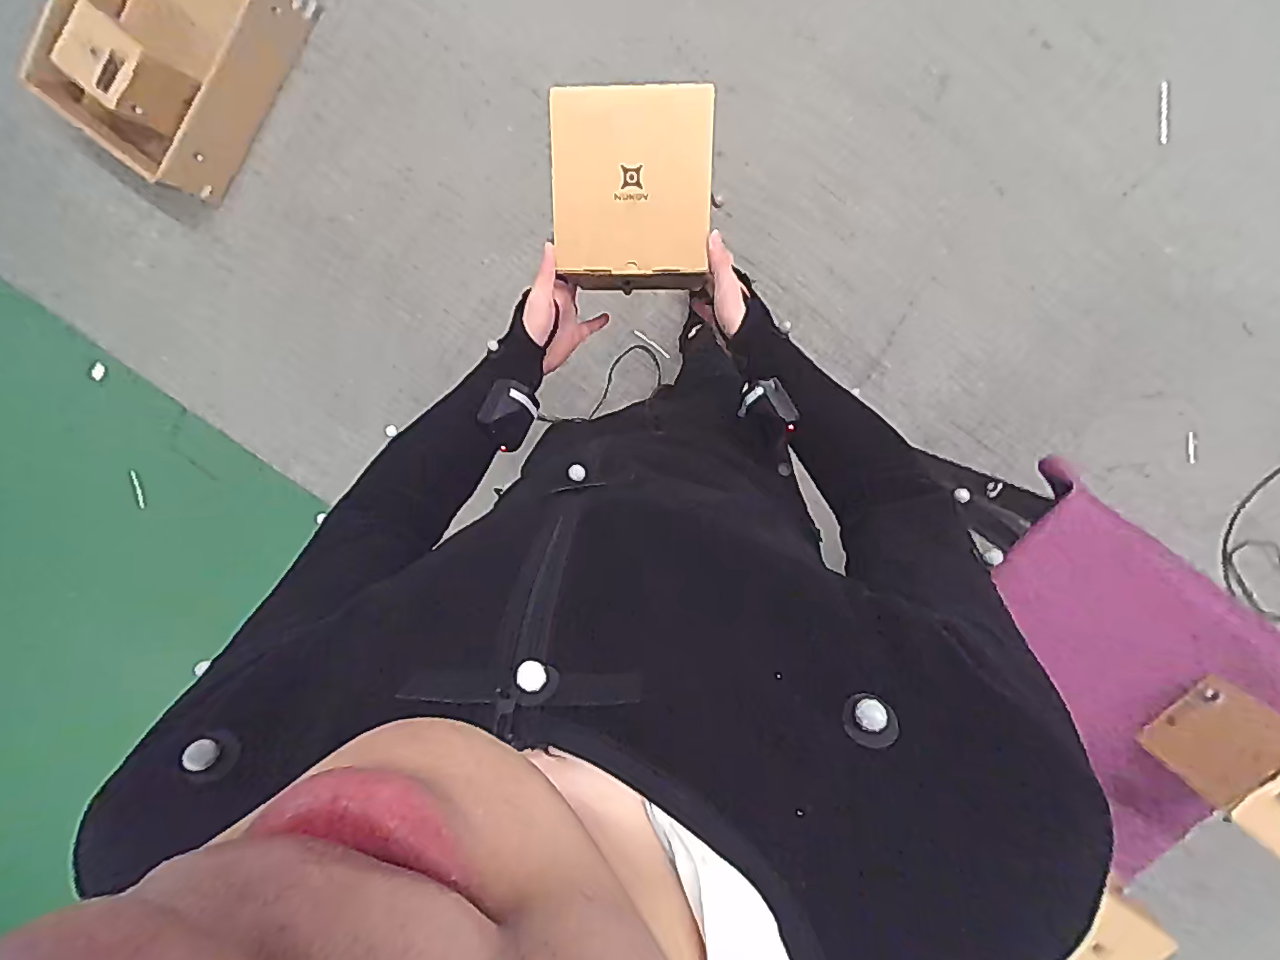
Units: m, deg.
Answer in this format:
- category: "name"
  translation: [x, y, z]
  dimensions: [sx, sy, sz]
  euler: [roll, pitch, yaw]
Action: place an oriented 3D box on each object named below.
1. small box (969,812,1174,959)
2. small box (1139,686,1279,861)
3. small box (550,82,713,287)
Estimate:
- category: "small box"
  translation: [0.727, 0.725, 0.933]
  dimensions: [0.179, 0.176, 0.168]
  euler: [36, 101, -4]
- category: "small box"
  translation: [0.969, 0.459, 0.854]
  dimensions: [0.179, 0.176, 0.168]
  euler: [38, 103, -4]
- category: "small box"
  translation: [-0.007, -0.327, 0.631]
  dimensions: [0.168, 0.176, 0.179]
  euler: [0, 105, 3]
